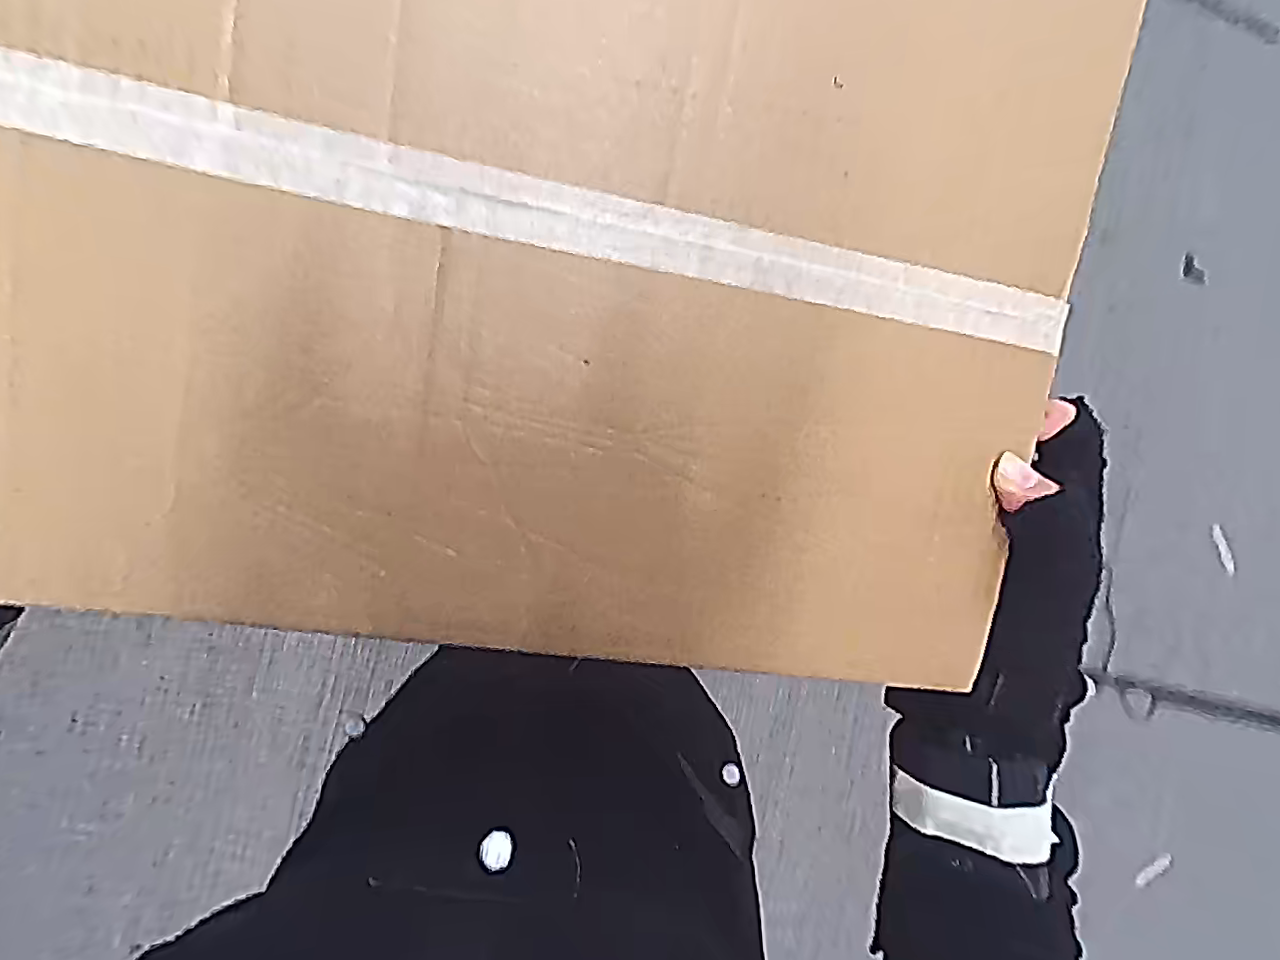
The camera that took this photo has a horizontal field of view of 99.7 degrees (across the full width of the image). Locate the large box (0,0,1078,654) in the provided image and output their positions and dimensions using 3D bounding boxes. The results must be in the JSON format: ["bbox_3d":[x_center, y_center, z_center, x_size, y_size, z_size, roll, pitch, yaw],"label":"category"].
[{"bbox_3d":[-0.060,-0.113,0.342,0.408,0.320,0.320,7,96,-10],"label":"large box"}]
